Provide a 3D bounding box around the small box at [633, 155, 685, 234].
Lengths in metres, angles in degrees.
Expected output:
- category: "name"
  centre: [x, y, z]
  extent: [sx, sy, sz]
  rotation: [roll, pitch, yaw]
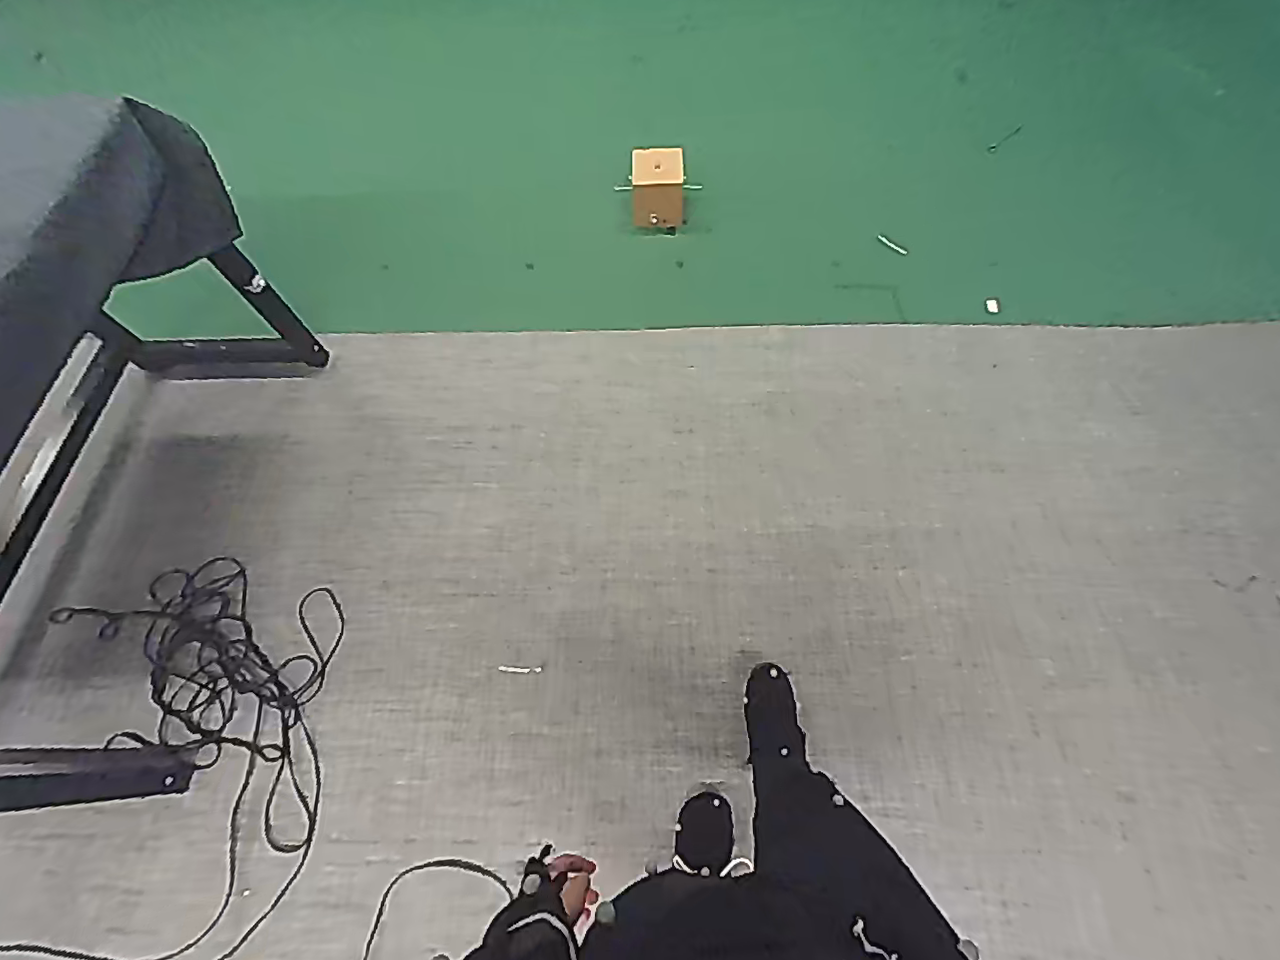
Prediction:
- category: "small box"
  centre: [0.064, -0.962, 1.825]
  extent: [0.168, 0.176, 0.179]
  rotation: [-1, 64, 3]
